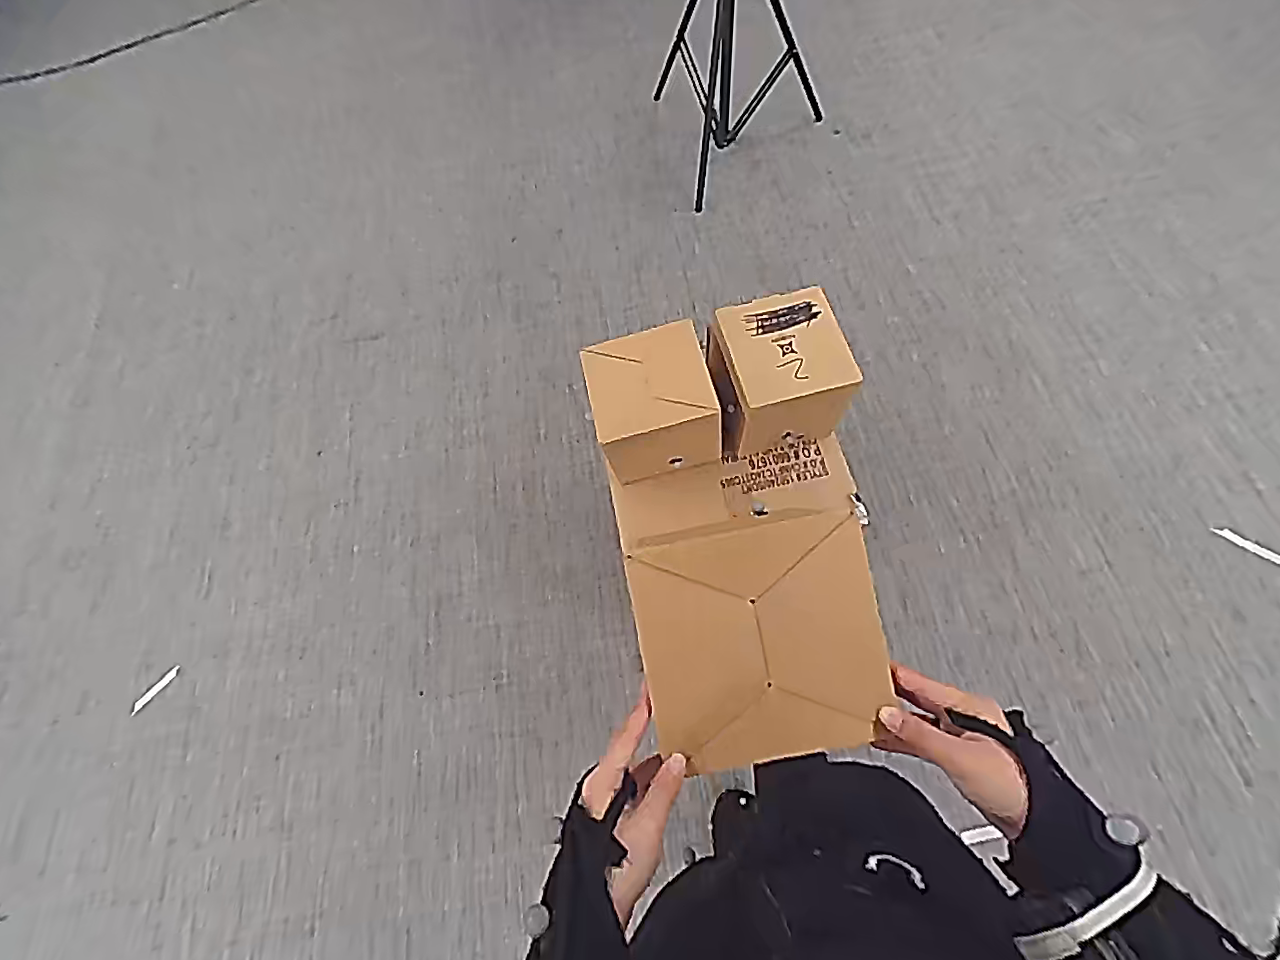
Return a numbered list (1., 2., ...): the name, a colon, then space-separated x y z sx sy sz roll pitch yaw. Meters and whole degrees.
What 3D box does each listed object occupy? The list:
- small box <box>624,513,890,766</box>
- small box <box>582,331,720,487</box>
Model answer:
1. small box: 0.085 0.124 0.476 0.179 0.176 0.168 -11 87 0
2. small box: 0.022 -0.110 0.854 0.179 0.176 0.168 -14 67 2
